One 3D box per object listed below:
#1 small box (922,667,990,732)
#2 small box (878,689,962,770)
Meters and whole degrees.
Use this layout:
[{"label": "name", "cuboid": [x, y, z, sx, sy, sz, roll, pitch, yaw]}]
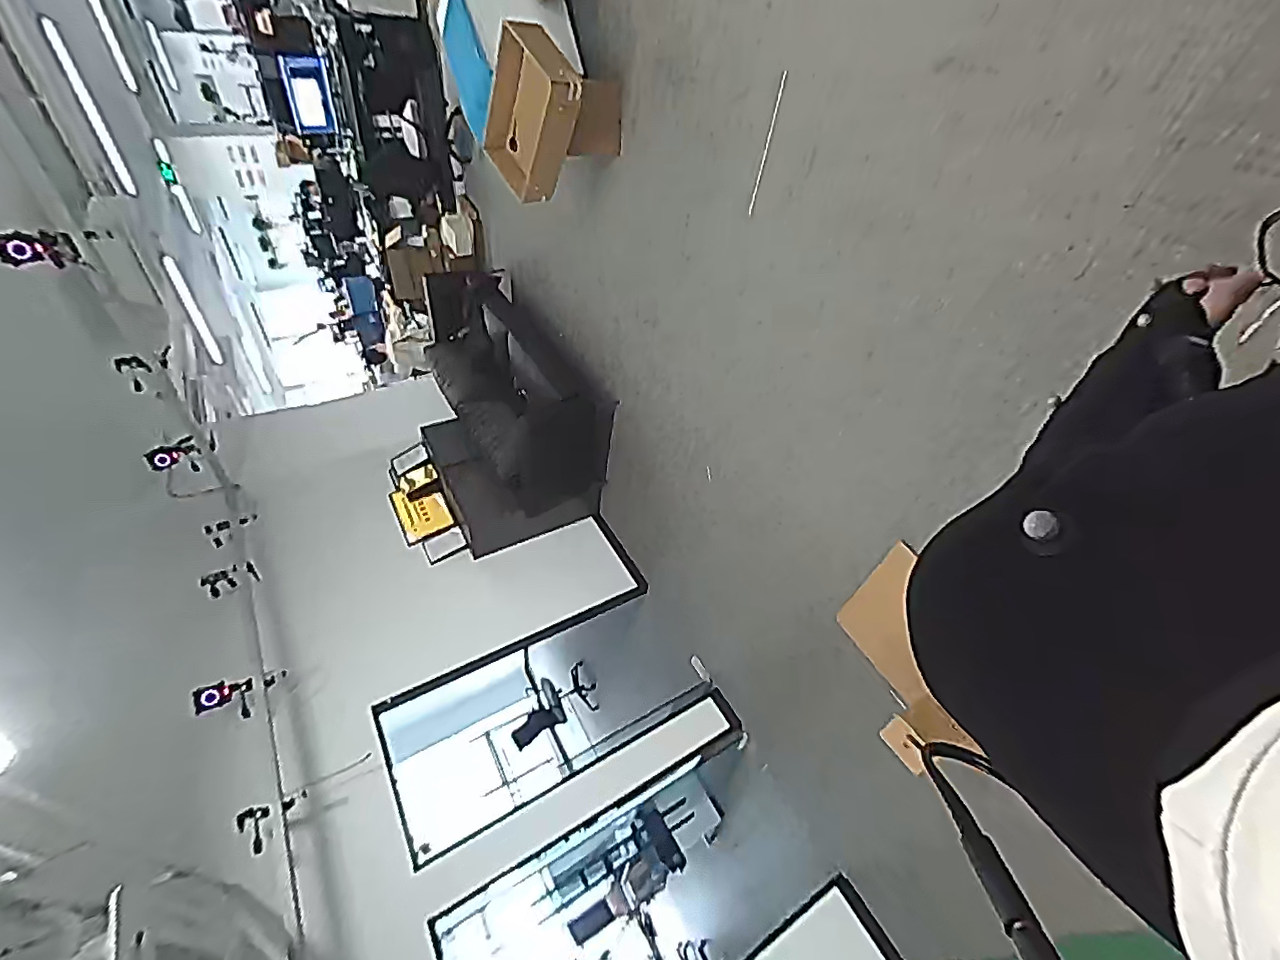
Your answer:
[{"label": "small box", "cuboid": [1.120, 0.816, 1.957, 0.168, 0.176, 0.179, 48, 146, 38]}, {"label": "small box", "cuboid": [0.980, 0.865, 1.886, 0.168, 0.176, 0.179, 50, 148, 35]}]
